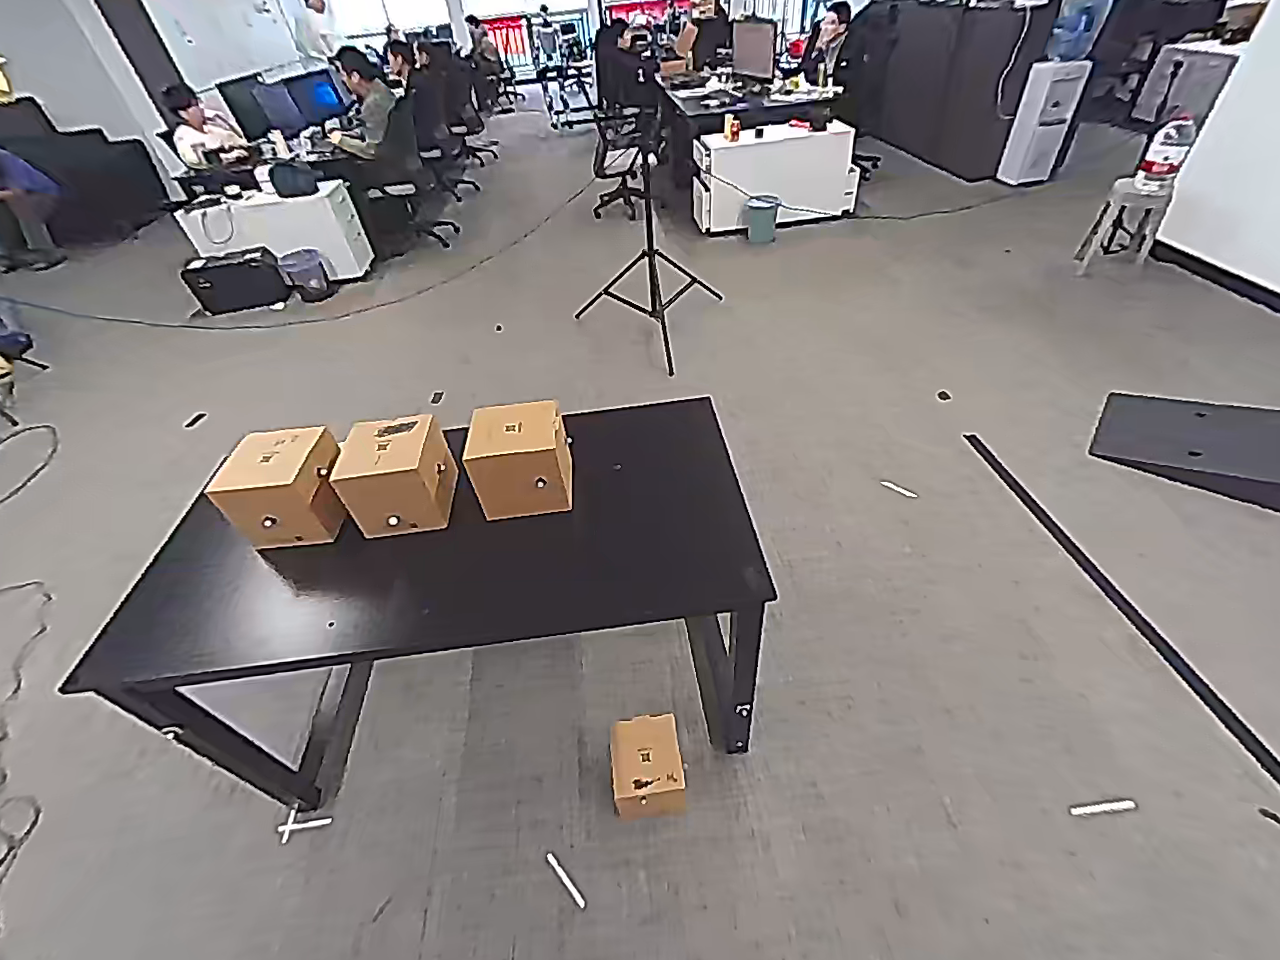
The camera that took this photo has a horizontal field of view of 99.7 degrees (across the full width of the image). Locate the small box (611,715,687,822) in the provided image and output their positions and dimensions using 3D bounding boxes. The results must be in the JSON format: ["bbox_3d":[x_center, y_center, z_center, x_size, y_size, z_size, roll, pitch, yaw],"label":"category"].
[{"bbox_3d":[0.022,0.714,1.339,0.168,0.176,0.179,-9,42,-1],"label":"small box"}]

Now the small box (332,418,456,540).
[{"bbox_3d":[-0.487,-0.002,1.102,0.168,0.176,0.179,-8,44,-2],"label":"small box"}]

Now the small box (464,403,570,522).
[{"bbox_3d":[-0.240,-0.034,1.109,0.179,0.176,0.168,-8,41,0],"label":"small box"}]

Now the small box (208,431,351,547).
[{"bbox_3d":[-0.710,0.024,1.103,0.168,0.176,0.179,-5,42,1],"label":"small box"}]
